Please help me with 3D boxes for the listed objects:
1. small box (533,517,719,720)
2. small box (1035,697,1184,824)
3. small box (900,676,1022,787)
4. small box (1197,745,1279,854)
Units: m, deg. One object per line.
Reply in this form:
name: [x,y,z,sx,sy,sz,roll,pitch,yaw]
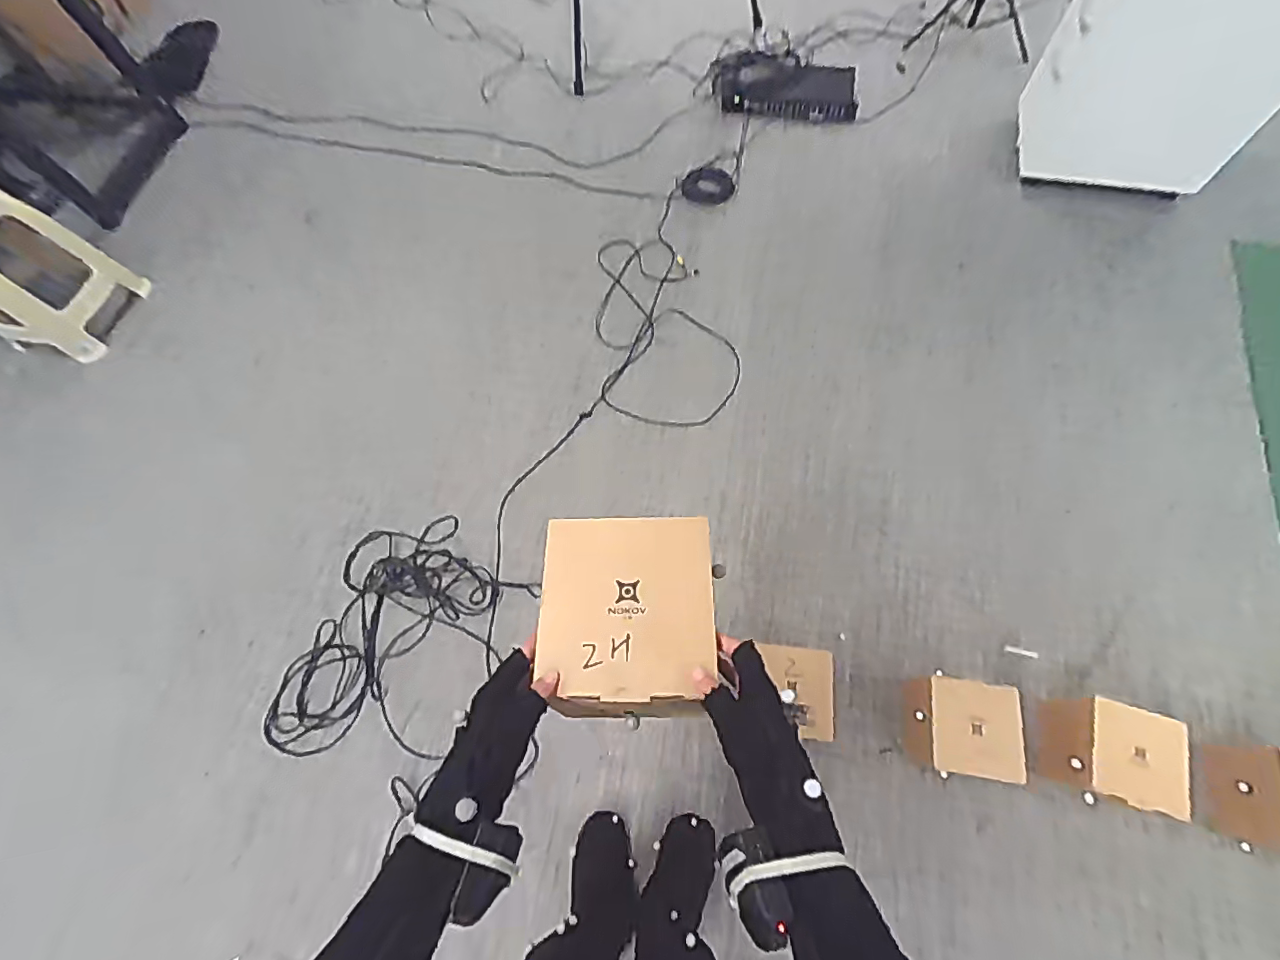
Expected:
small box: [-0.007,0.153,0.578,0.168,0.176,0.179,-1,62,3]
small box: [0.935,0.554,1.091,0.168,0.176,0.179,16,69,10]
small box: [0.654,0.516,1.125,0.168,0.176,0.179,6,69,8]
small box: [1.242,0.626,1.041,0.168,0.176,0.179,11,67,8]
